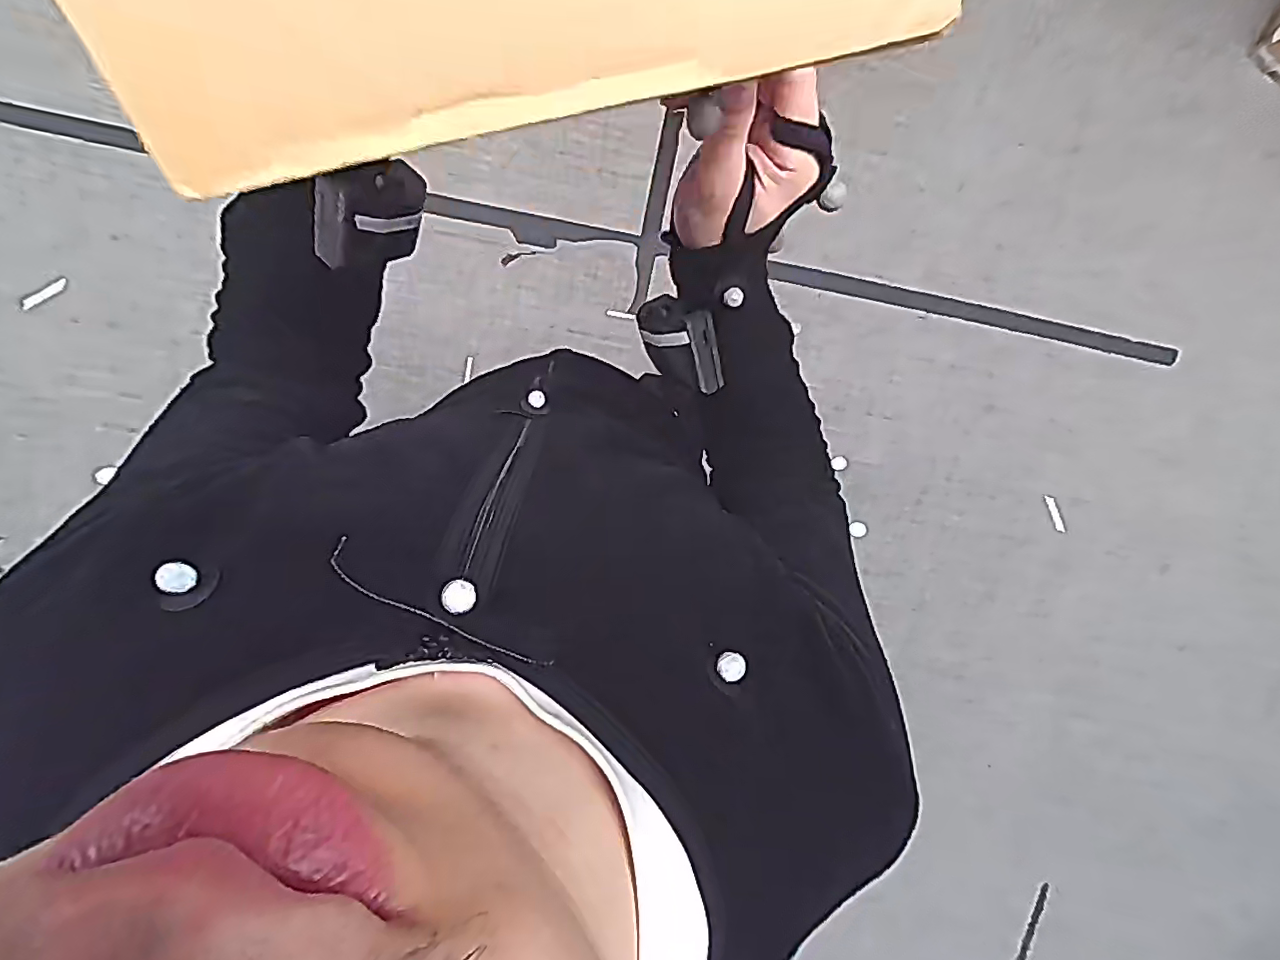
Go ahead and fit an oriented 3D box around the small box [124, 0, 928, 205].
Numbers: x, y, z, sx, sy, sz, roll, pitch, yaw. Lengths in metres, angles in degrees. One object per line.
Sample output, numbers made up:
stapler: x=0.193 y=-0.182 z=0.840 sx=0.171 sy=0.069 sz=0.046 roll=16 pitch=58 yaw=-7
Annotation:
small box: x=-0.037 y=-0.196 z=0.152 sx=0.179 sy=0.176 sz=0.168 roll=-11 pitch=124 yaw=4
